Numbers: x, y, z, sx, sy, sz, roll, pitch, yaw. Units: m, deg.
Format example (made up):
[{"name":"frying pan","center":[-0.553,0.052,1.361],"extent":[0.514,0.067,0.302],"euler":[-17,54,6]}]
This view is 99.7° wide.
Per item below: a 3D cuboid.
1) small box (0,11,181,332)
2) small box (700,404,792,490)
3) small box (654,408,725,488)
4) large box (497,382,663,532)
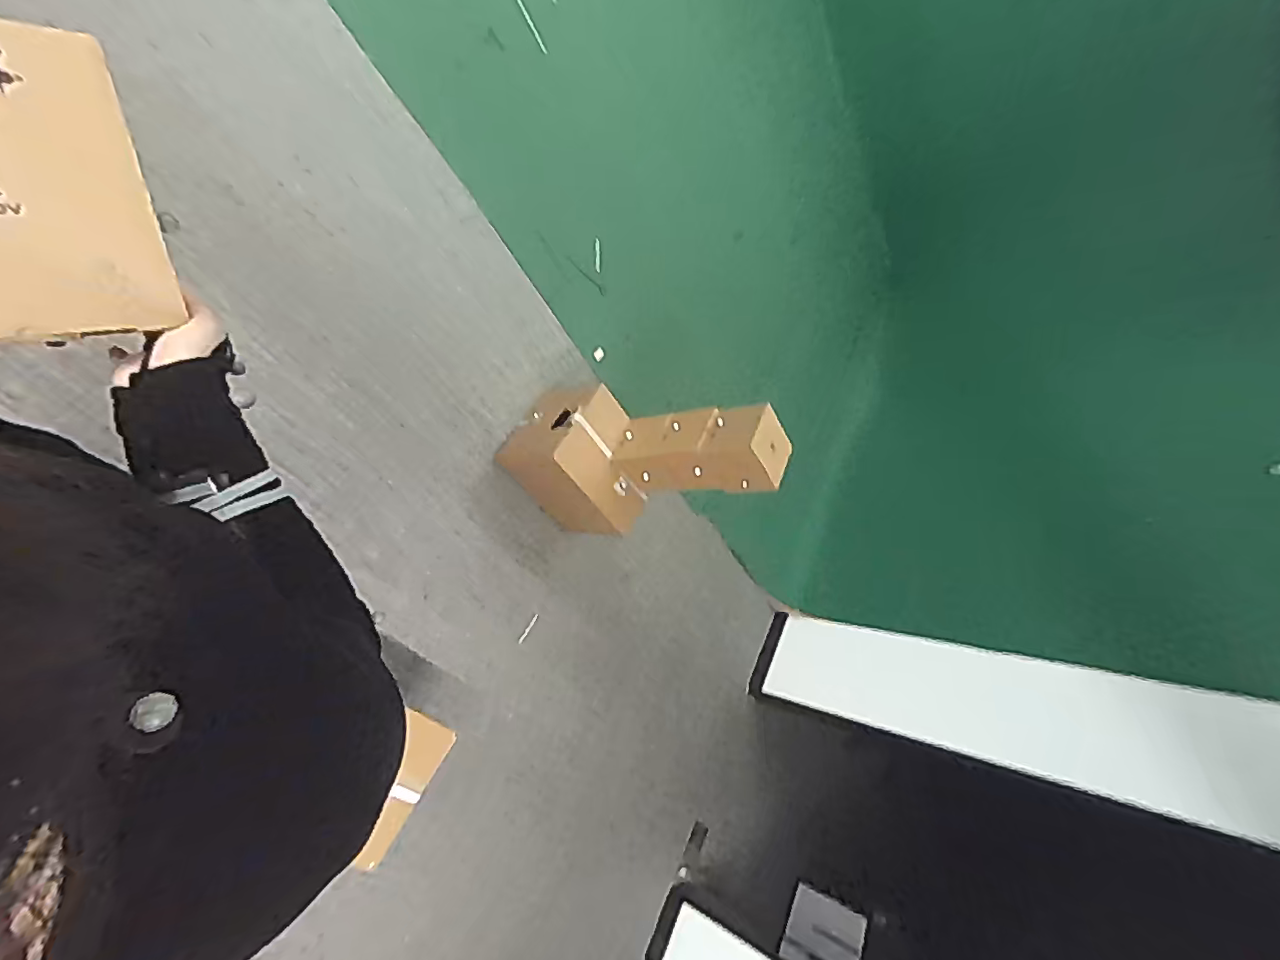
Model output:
[{"name":"small box","center":[-0.448,-0.205,0.372],"extent":[0.168,0.176,0.179],"euler":[-19,123,-36]},{"name":"small box","center":[0.297,-0.089,1.509],"extent":[0.179,0.176,0.168],"euler":[52,52,-32]},{"name":"small box","center":[0.173,-0.093,1.615],"extent":[0.179,0.176,0.168],"euler":[51,53,-34]},{"name":"large box","center":[-0.192,-0.069,1.821],"extent":[0.408,0.320,0.320],"euler":[52,55,-35]}]
